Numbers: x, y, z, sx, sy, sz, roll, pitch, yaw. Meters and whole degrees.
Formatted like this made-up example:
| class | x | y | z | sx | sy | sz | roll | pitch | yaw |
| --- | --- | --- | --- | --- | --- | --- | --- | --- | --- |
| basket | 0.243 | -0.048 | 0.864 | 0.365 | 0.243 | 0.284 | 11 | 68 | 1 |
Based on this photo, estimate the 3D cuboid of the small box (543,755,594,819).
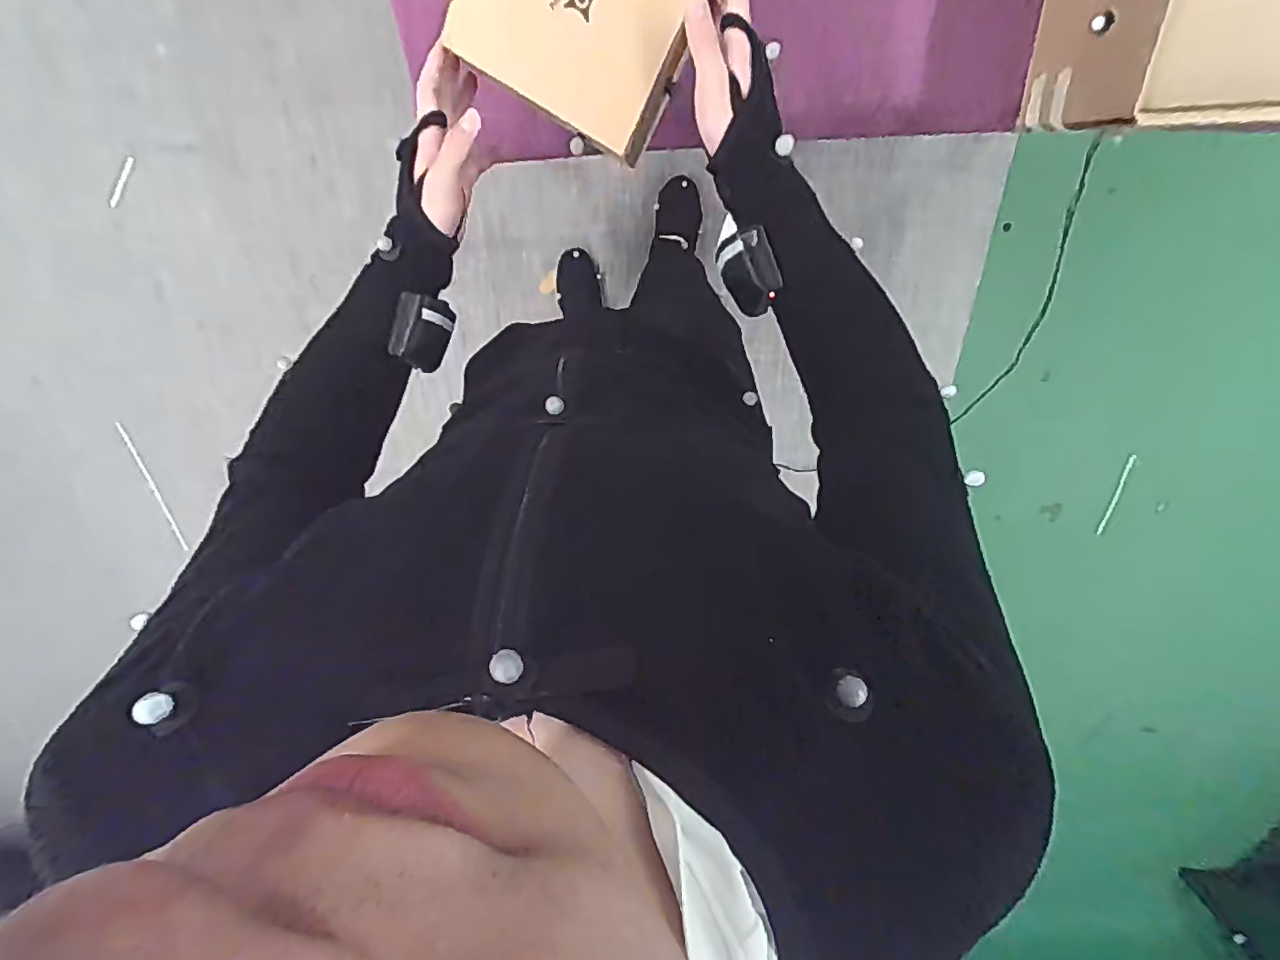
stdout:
| class | x | y | z | sx | sy | sz | roll | pitch | yaw |
| --- | --- | --- | --- | --- | --- | --- | --- | --- | --- |
| small box | -0.250 | 1.091 | 1.895 | 0.168 | 0.176 | 0.179 | 4 | 117 | -3 |
